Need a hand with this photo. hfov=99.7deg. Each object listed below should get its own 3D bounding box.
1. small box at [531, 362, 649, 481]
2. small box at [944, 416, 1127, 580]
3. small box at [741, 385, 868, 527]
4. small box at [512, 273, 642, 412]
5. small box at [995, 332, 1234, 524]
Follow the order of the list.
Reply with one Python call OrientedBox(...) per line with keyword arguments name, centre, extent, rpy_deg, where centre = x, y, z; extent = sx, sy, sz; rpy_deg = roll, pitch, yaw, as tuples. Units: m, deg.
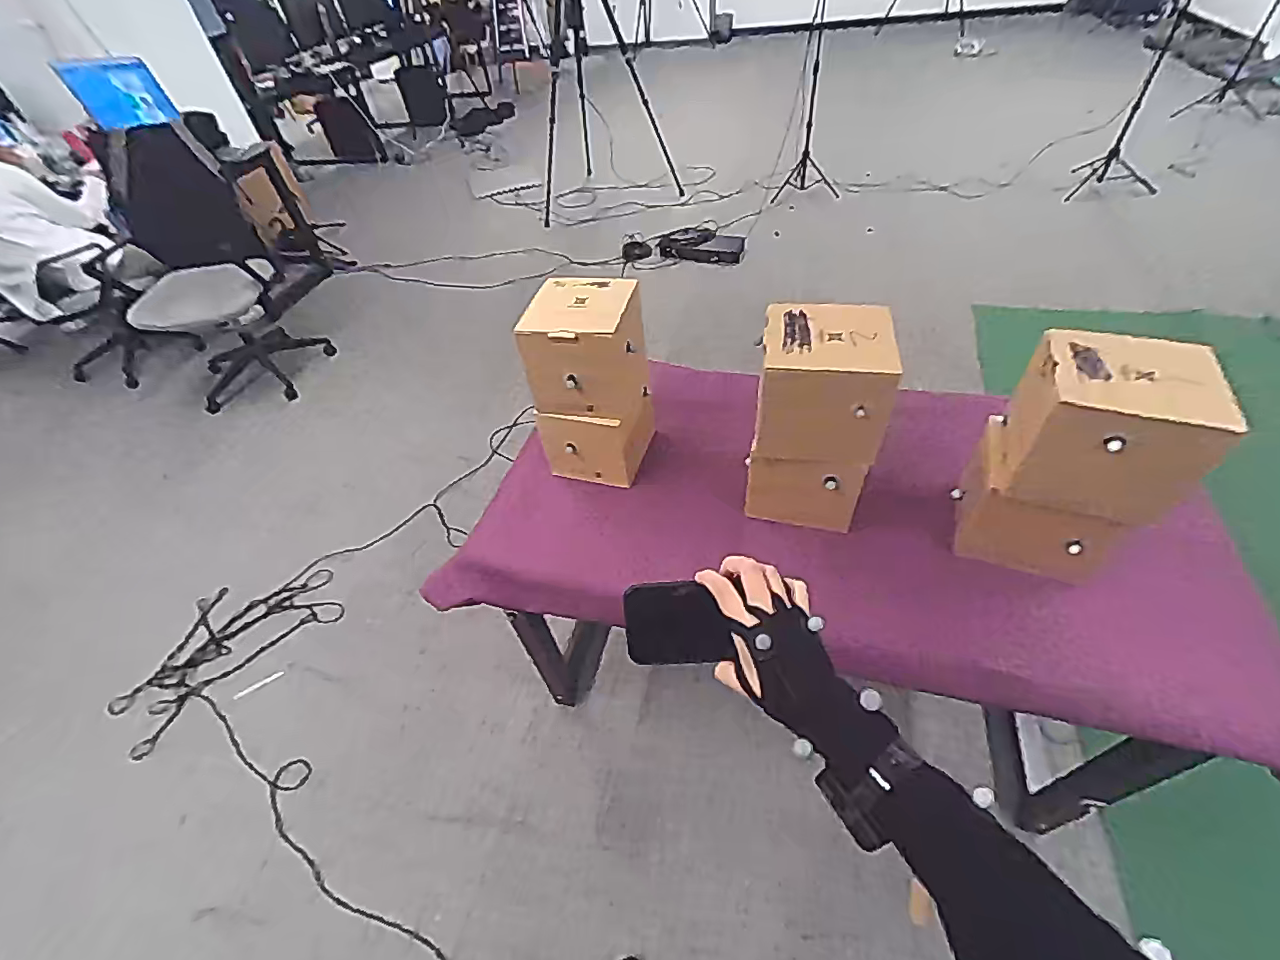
OrientedBox(name="small box", centre=(-0.084, -0.120, 1.052), extent=(0.168, 0.176, 0.179), rpy_deg=(11, 50, 16))
OrientedBox(name="small box", centre=(0.598, 0.031, 0.835), extent=(0.179, 0.176, 0.168), rpy_deg=(15, 51, 20))
OrientedBox(name="small box", centre=(0.279, -0.039, 0.934), extent=(0.179, 0.176, 0.168), rpy_deg=(10, 50, 16))
OrientedBox(name="small box", centre=(-0.096, -0.236, 0.937), extent=(0.168, 0.176, 0.179), rpy_deg=(7, 50, 12))
OrientedBox(name="small box", centre=(0.587, -0.067, 0.703), extent=(0.179, 0.176, 0.168), rpy_deg=(15, 51, 19))
